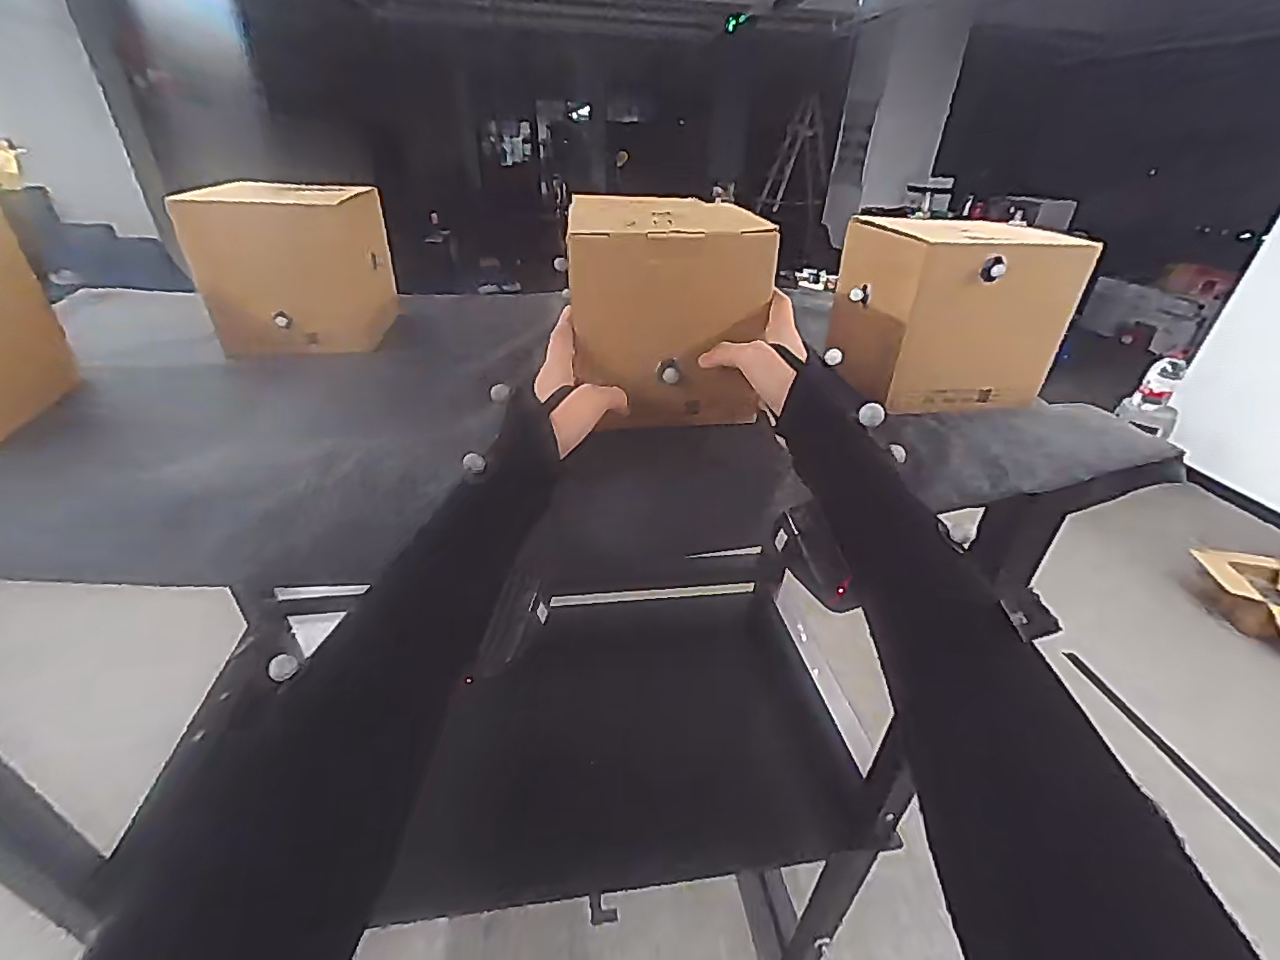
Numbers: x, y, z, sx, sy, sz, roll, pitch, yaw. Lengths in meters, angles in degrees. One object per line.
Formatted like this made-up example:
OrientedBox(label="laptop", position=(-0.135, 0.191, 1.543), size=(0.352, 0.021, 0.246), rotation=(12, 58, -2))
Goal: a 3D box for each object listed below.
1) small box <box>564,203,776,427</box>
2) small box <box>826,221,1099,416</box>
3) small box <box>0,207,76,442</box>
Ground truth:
OrientedBox(label="small box", position=(0.017, -0.163, 0.521), size=(0.168, 0.176, 0.179), rotation=(-3, 34, -4))
OrientedBox(label="small box", position=(0.321, -0.179, 0.587), size=(0.168, 0.176, 0.179), rotation=(-1, 31, -4))
OrientedBox(label="small box", position=(-0.619, -0.120, 0.431), size=(0.168, 0.176, 0.179), rotation=(-7, 34, -16))
